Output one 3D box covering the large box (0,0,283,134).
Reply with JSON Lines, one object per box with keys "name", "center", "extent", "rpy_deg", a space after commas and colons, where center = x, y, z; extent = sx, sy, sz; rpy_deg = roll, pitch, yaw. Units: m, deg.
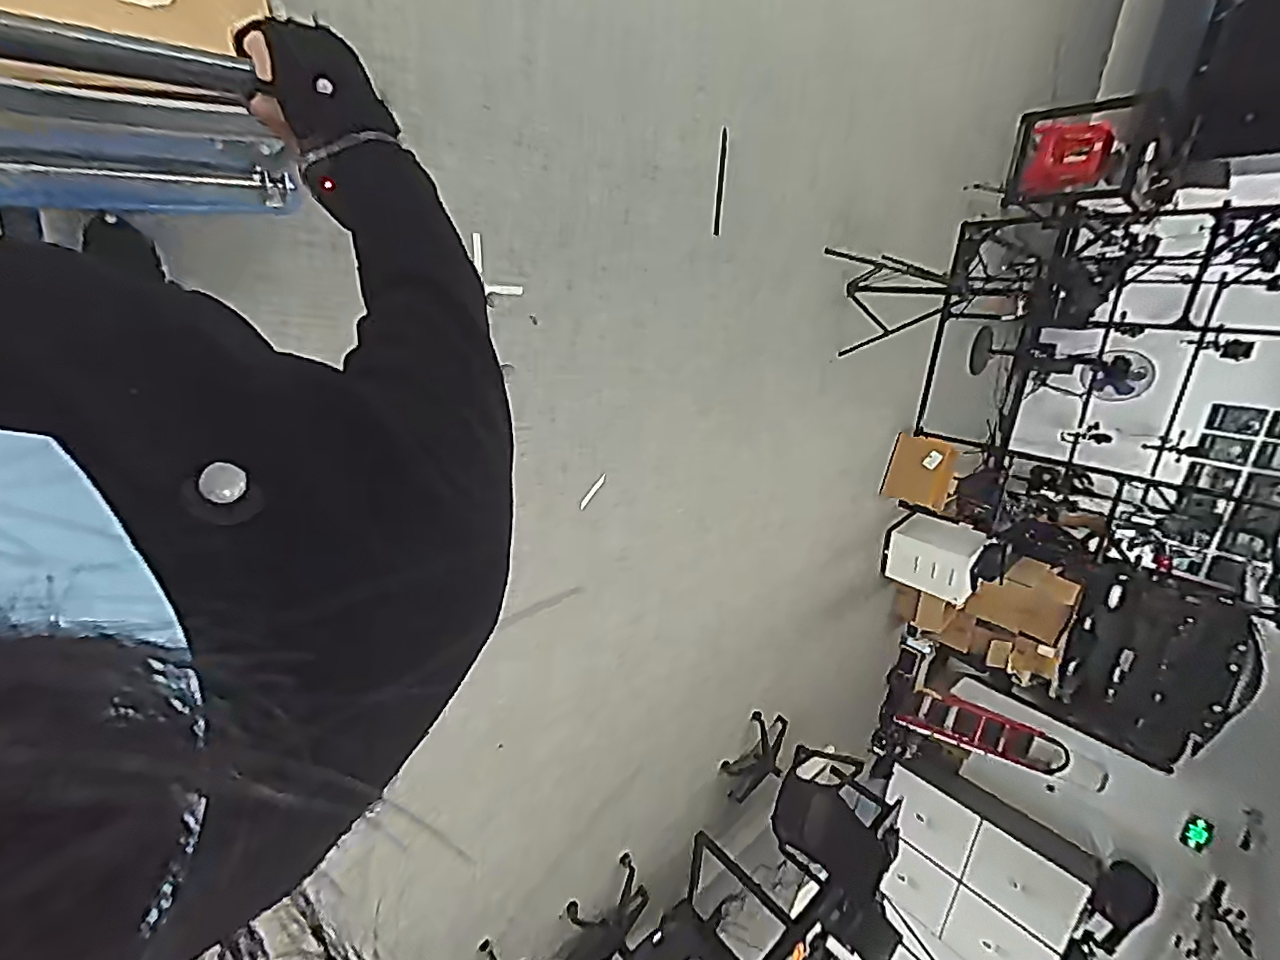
{"name": "large box", "center": [-0.773, -0.664, 0.703], "extent": [0.408, 0.320, 0.320], "rpy_deg": [-24, 122, -38]}
